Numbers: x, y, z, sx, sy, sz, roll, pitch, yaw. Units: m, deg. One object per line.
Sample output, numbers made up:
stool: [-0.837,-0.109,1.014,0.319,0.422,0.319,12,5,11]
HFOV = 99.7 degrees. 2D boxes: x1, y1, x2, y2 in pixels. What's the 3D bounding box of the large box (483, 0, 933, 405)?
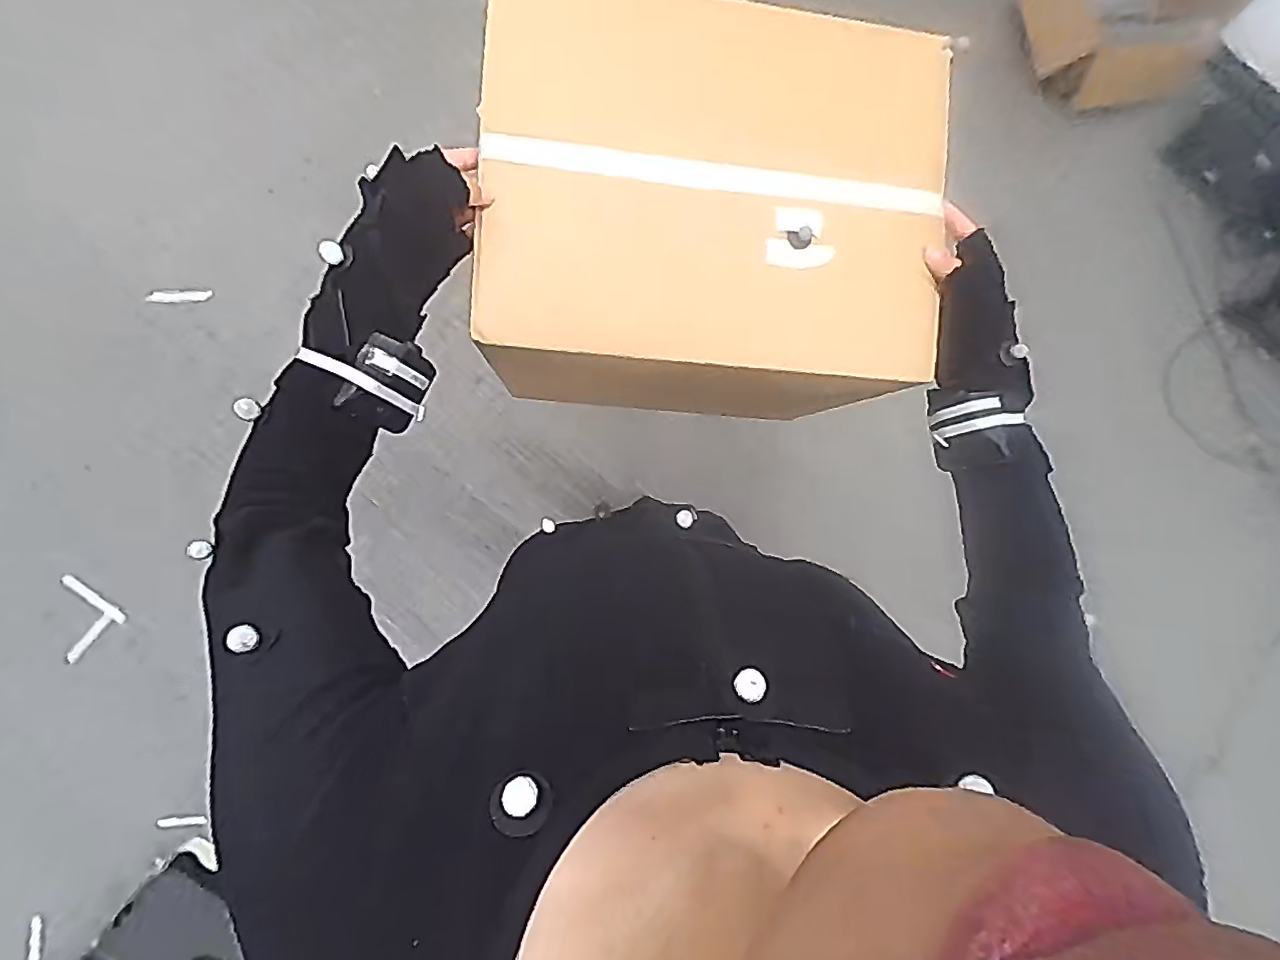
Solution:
large box: [0.047,-0.266,0.618,0.408,0.320,0.320,2,91,-8]
